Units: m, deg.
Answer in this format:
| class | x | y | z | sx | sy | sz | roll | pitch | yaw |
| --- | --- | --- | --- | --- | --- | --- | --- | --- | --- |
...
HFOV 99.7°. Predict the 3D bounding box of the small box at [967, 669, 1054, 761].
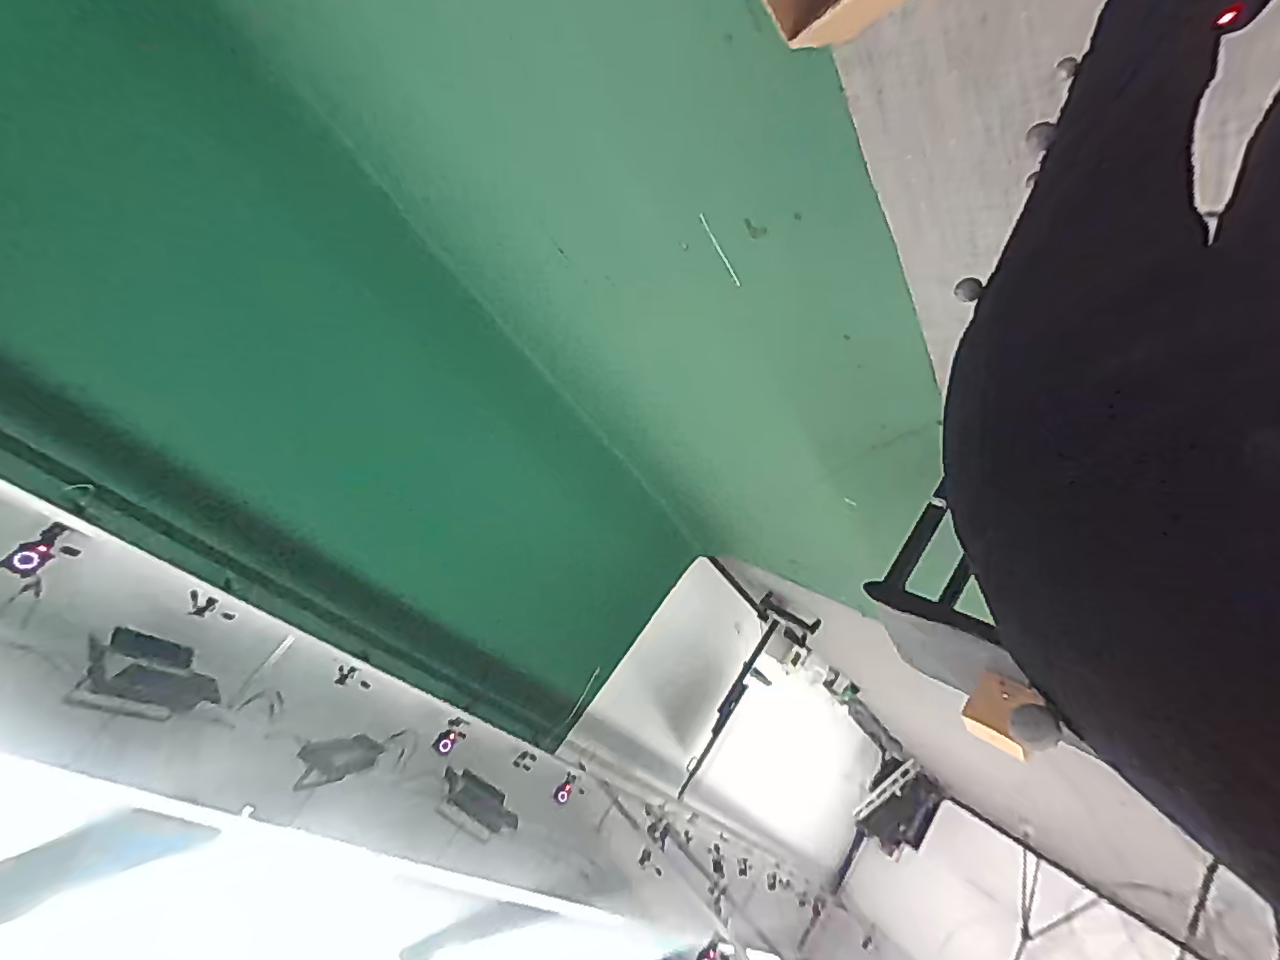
| class | x | y | z | sx | sy | sz | roll | pitch | yaw |
| --- | --- | --- | --- | --- | --- | --- | --- | --- | --- |
| small box | 1.135 | 0.714 | 1.650 | 0.168 | 0.176 | 0.179 | 21 | 158 | 49 |
